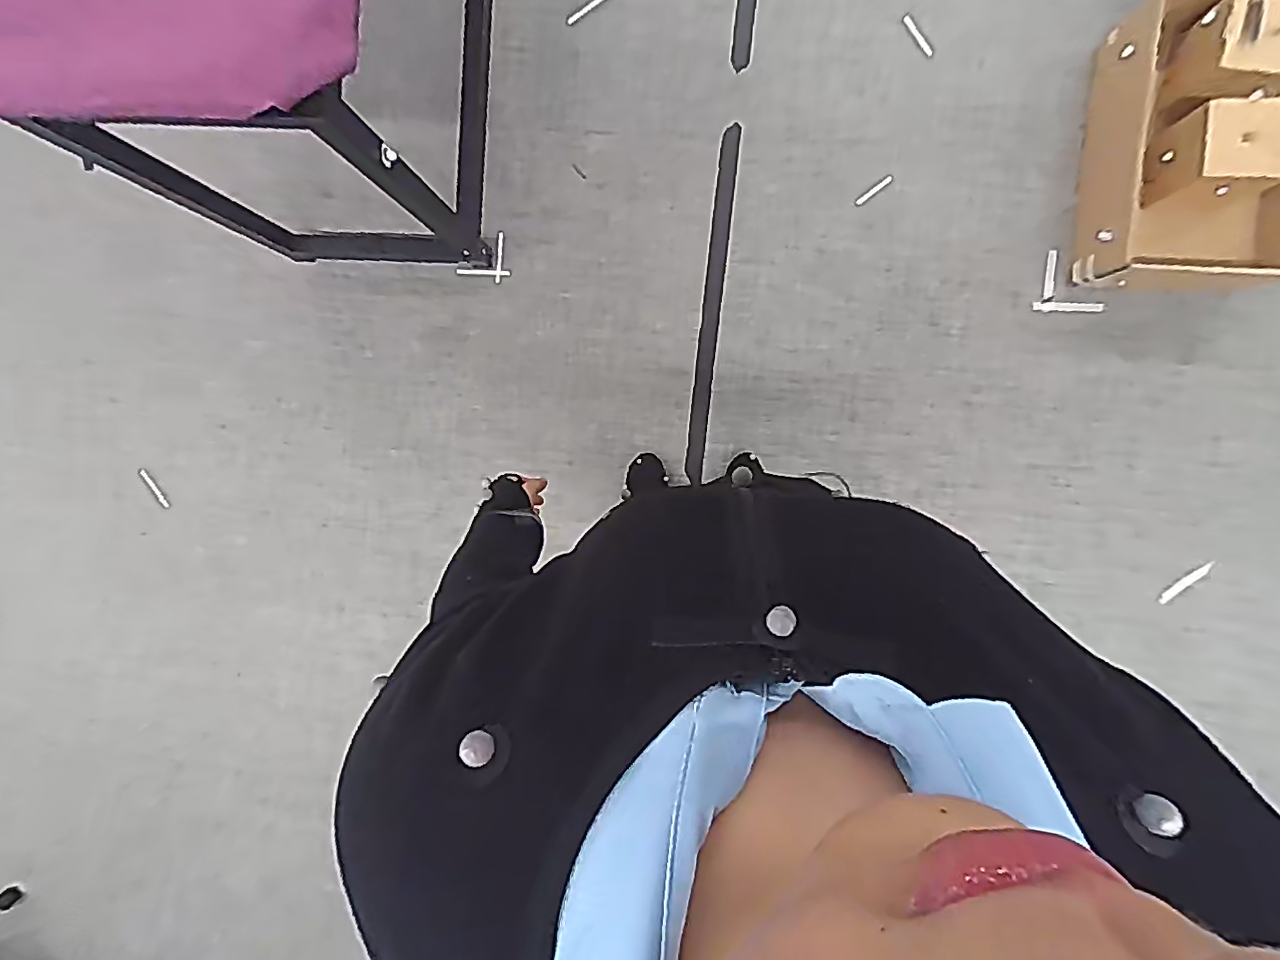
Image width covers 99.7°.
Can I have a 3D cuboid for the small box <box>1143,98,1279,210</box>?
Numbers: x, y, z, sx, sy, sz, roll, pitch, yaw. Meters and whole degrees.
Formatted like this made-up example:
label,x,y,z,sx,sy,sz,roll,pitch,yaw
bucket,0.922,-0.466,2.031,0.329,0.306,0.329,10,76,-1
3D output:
label,x,y,z,sx,sy,sz,roll,pitch,yaw
small box,1.315,-0.738,1.238,0.179,0.176,0.168,4,94,5
